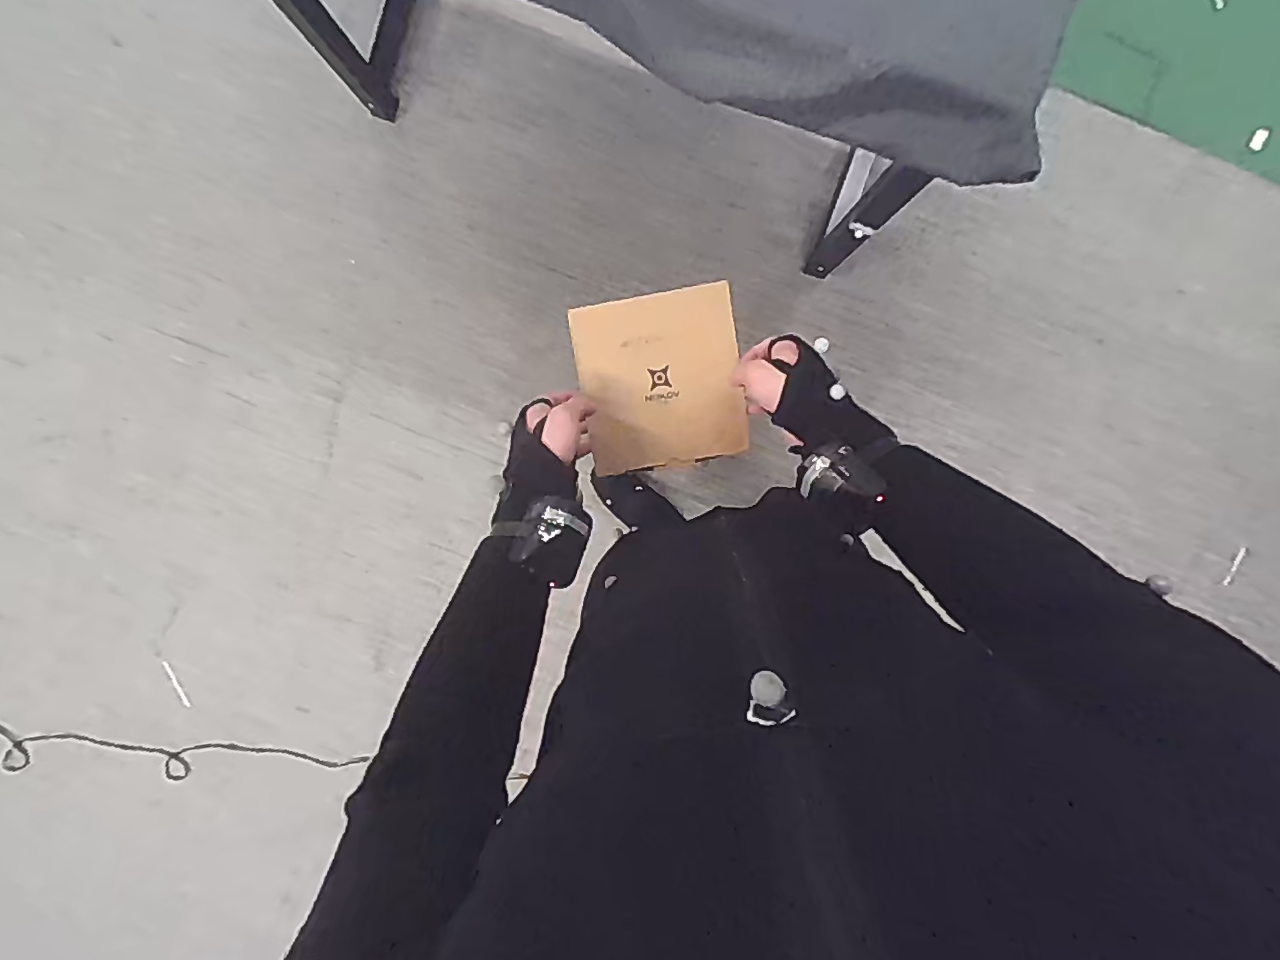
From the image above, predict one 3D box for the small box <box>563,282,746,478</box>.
[{"bbox_3d":[0.019,-0.109,0.624,0.168,0.176,0.179,-10,97,3],"label":"small box"}]
